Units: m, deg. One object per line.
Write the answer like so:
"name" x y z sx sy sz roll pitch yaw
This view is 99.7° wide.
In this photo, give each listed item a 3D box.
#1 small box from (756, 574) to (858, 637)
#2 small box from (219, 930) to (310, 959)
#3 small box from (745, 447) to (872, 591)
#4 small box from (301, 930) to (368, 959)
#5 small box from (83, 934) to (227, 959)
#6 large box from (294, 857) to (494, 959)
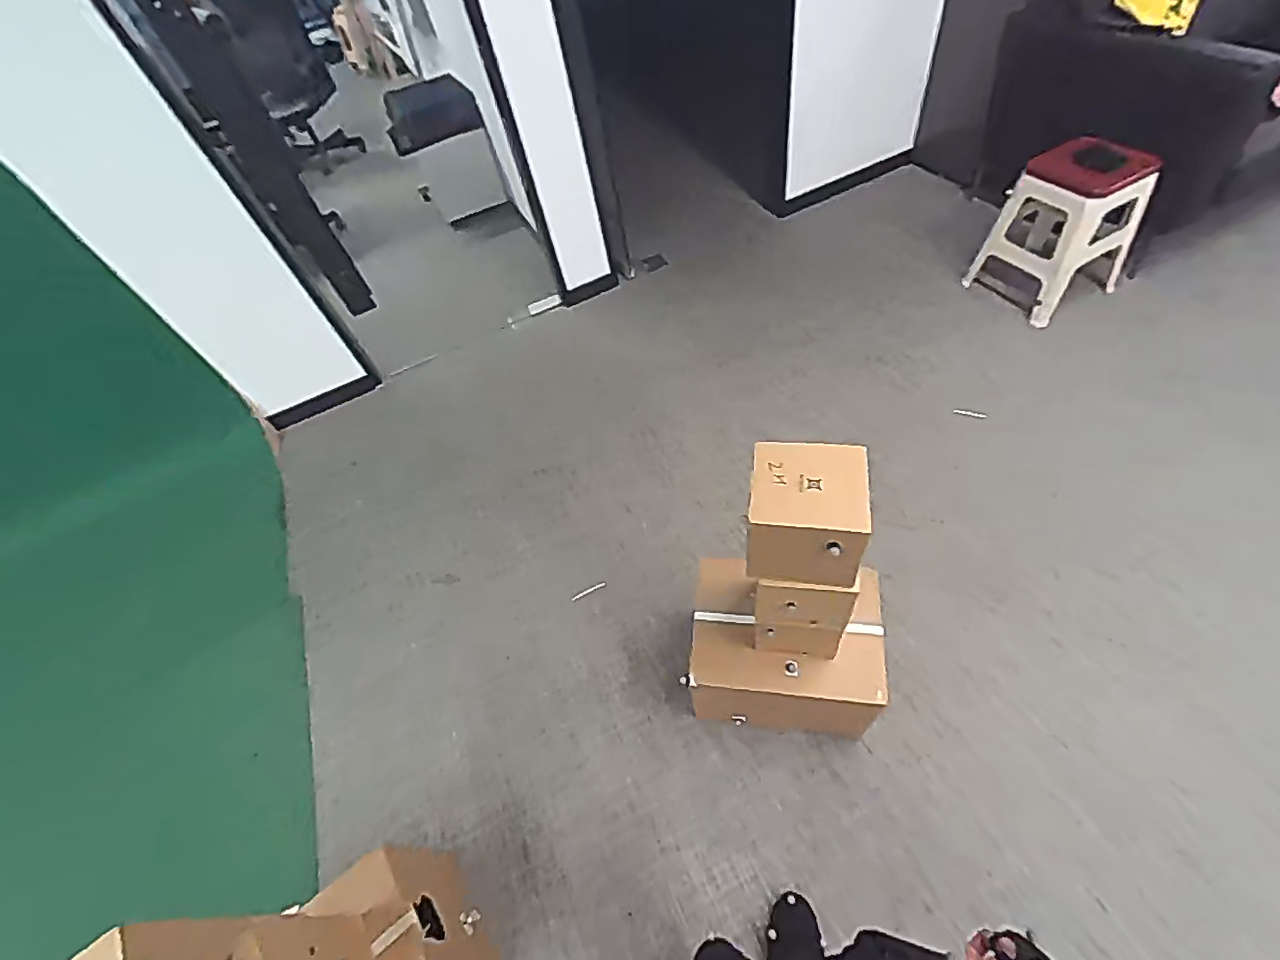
"small box" 0.304 0.174 1.003 0.168 0.176 0.179 2 51 13
"small box" -0.560 0.750 0.726 0.179 0.176 0.168 -37 55 -17
"small box" 0.268 0.066 0.883 0.179 0.176 0.168 3 51 15
"small box" -0.536 0.854 0.850 0.168 0.176 0.179 -36 54 -17
"small box" -0.590 0.650 0.599 0.179 0.176 0.168 -36 54 -18
"large box" -0.537 1.020 1.034 0.408 0.320 0.320 -37 53 -16
